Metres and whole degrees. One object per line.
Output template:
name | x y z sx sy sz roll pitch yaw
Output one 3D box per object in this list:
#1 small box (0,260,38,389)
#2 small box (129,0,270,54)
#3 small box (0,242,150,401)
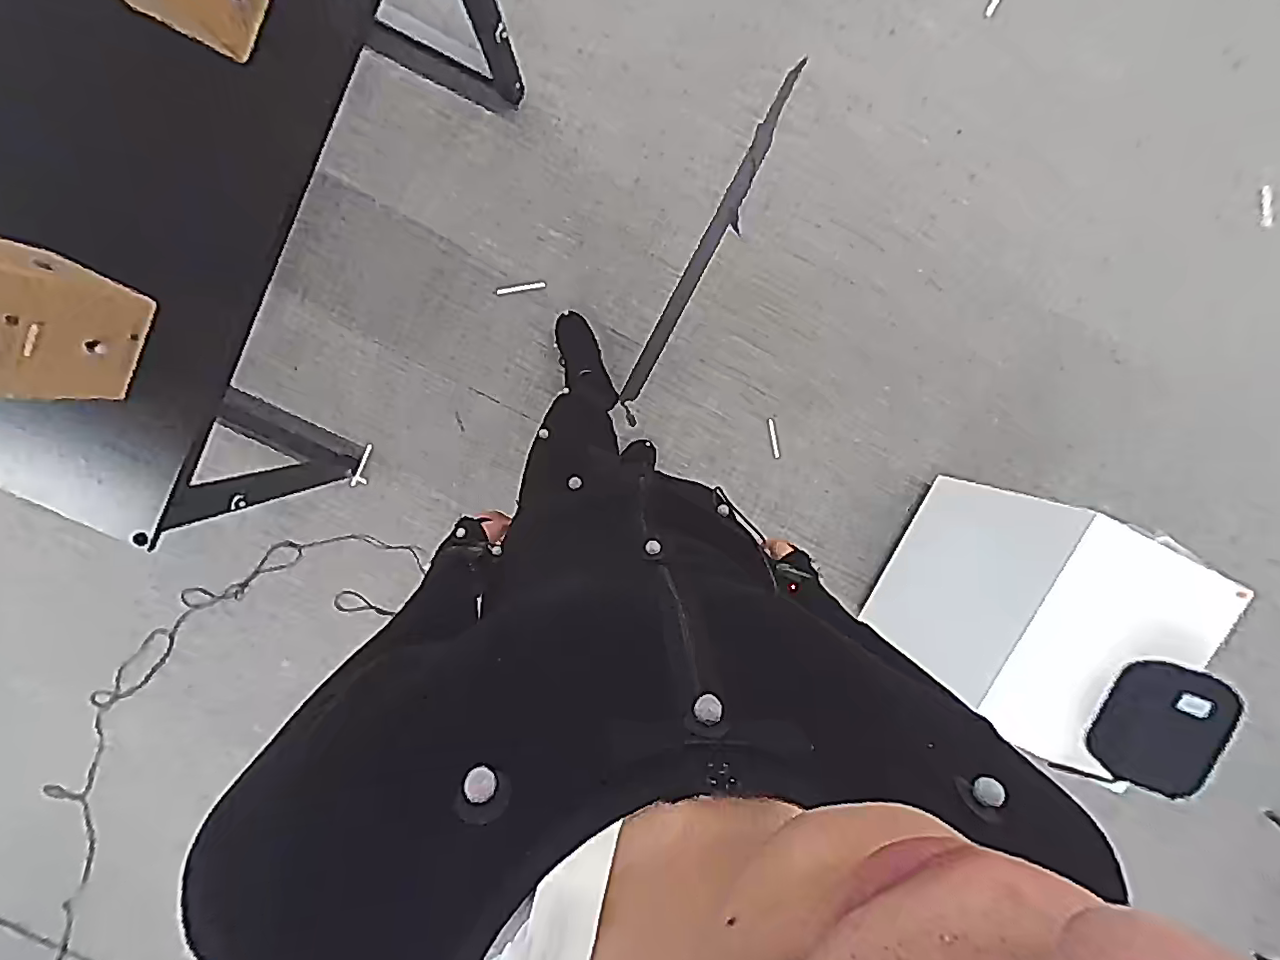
small box | -0.840 -0.199 0.580 0.179 0.176 0.168 26 97 -6
small box | -0.608 -0.700 0.684 0.179 0.176 0.168 25 96 -6
small box | -0.844 -0.222 0.743 0.179 0.176 0.168 25 96 -6
